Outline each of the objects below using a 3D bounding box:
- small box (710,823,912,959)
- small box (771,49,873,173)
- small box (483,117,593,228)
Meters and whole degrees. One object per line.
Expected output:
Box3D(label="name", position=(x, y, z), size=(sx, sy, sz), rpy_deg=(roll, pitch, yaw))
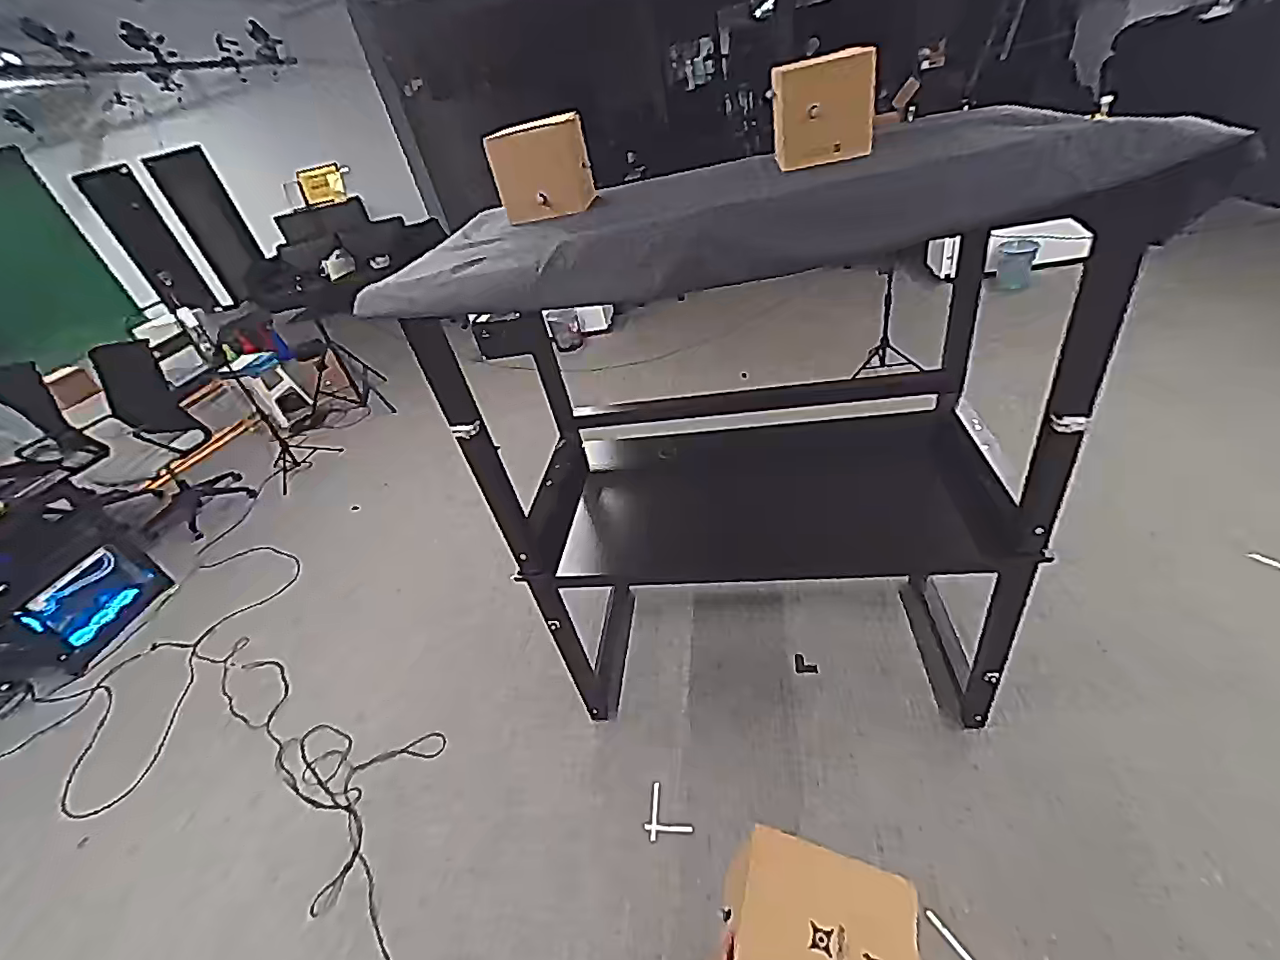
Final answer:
Box3D(label="small box", position=(0.174, 0.514, 0.586), size=(0.179, 0.176, 0.168), rpy_deg=(15, 44, 11))
Box3D(label="small box", position=(0.354, -0.722, 1.066), size=(0.168, 0.176, 0.179), rpy_deg=(-6, 37, 12))
Box3D(label="small box", position=(-0.210, -0.668, 1.178), size=(0.179, 0.176, 0.168), rpy_deg=(-5, 37, 10))
